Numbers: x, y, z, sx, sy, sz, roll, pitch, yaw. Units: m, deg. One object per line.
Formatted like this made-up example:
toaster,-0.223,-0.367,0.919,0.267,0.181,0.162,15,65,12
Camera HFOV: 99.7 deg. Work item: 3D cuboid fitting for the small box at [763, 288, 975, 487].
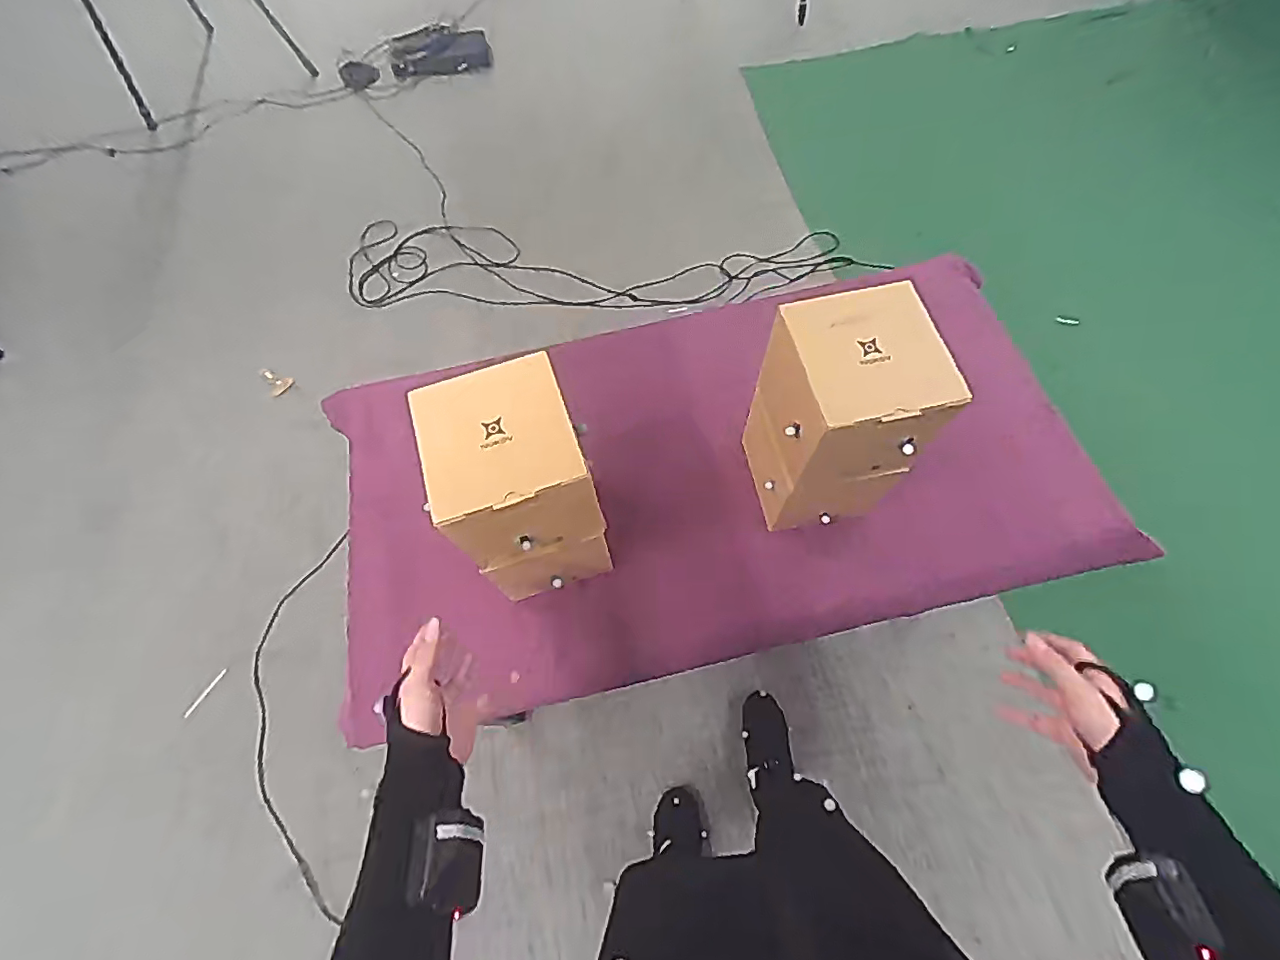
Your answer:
small box,0.263,-0.103,0.671,0.168,0.176,0.179,-10,65,-3

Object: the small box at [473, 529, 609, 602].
small box,-0.149,0.059,0.793,0.168,0.176,0.179,-16,65,-5

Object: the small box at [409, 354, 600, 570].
small box,-0.153,-0.015,0.649,0.168,0.176,0.179,-18,66,-7
